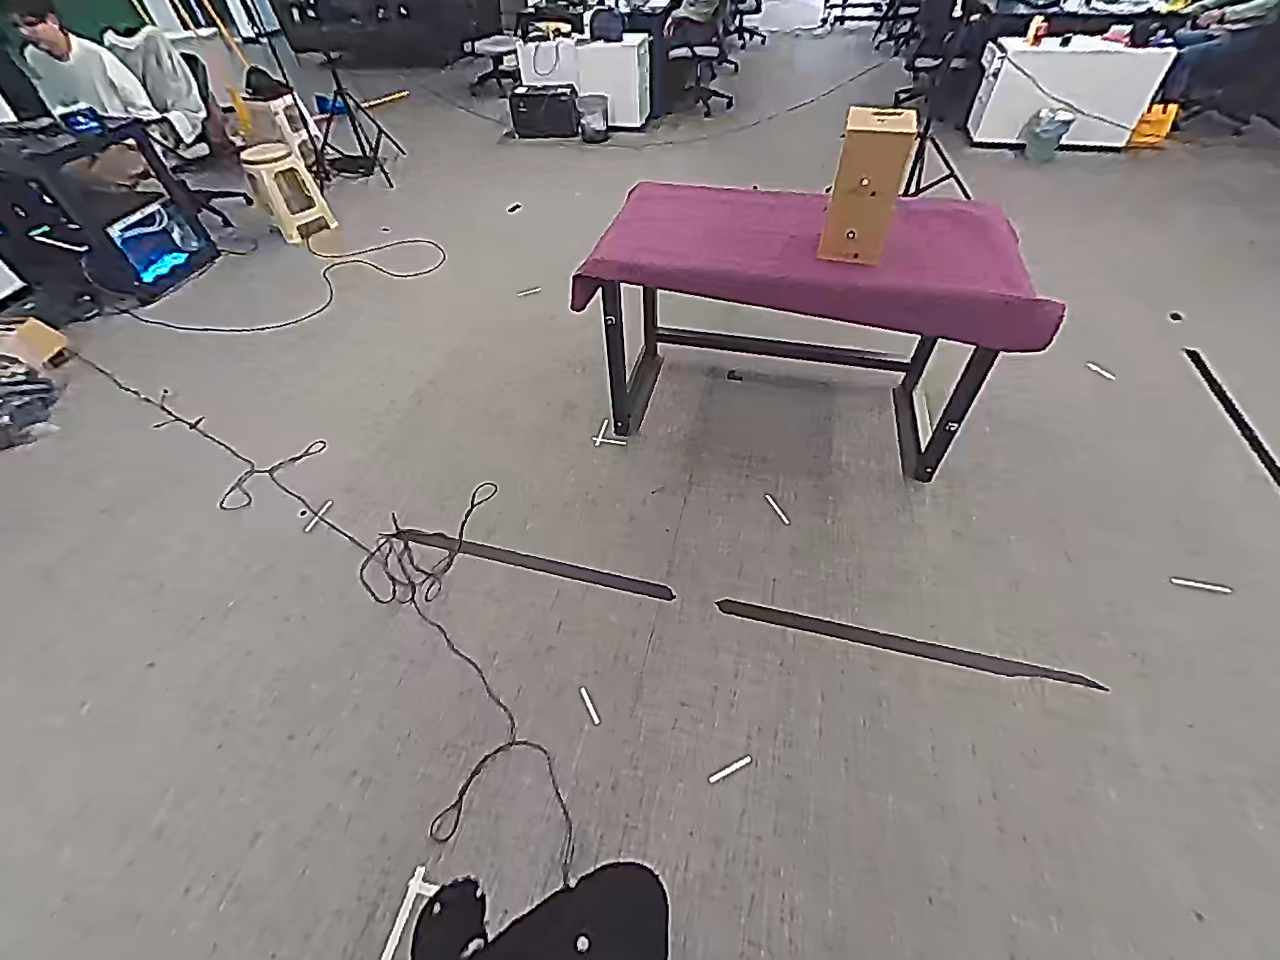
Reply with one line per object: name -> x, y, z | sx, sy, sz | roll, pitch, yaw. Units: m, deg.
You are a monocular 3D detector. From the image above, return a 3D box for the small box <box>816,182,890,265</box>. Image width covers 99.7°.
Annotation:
small box -> 0.609, -0.737, 1.552 | 0.168, 0.176, 0.179 | 12, 50, 12

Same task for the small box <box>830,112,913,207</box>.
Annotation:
small box -> 0.608, -0.849, 1.431 | 0.168, 0.176, 0.179 | 12, 50, 13
